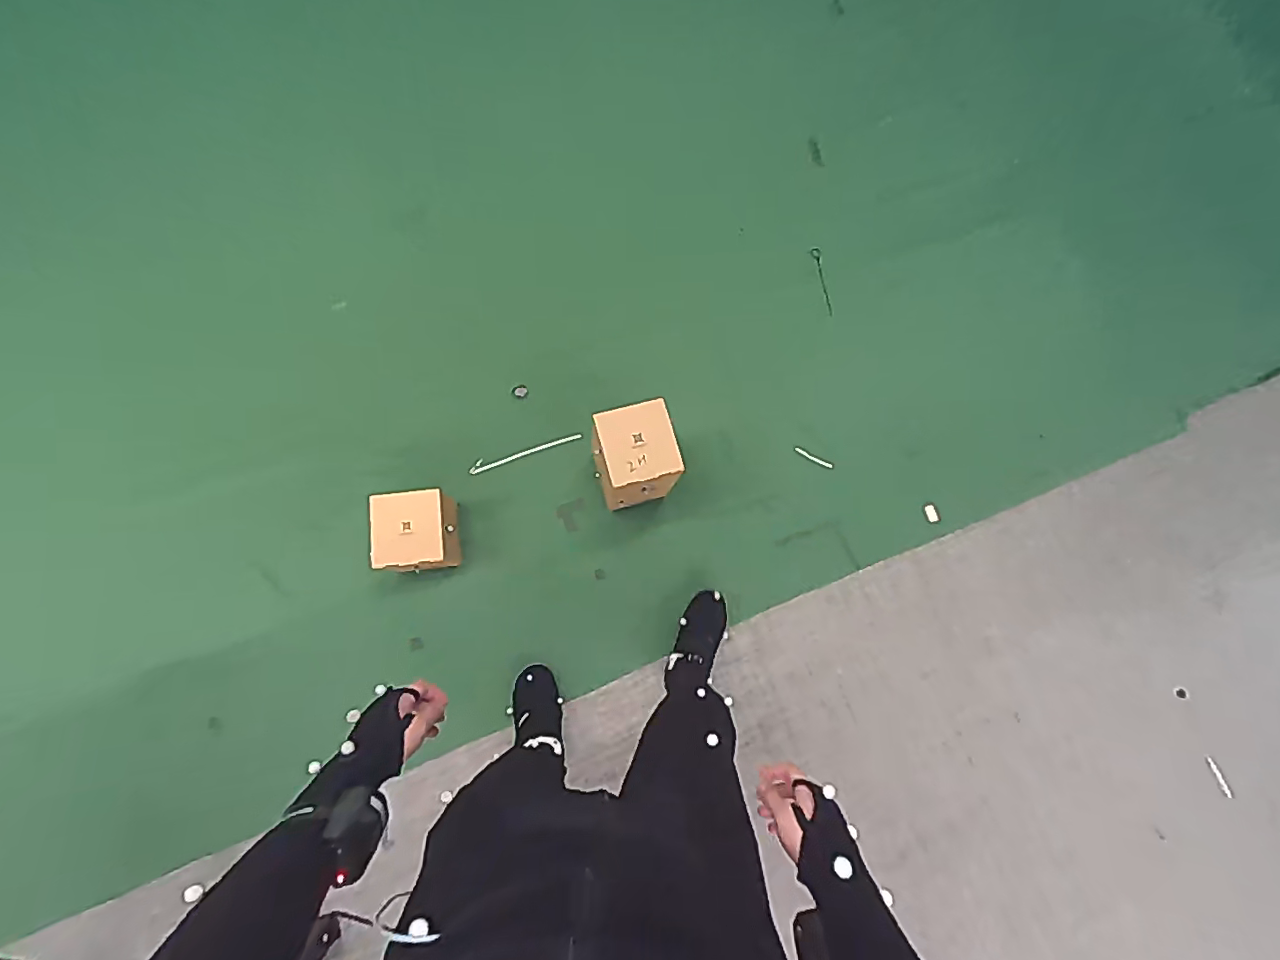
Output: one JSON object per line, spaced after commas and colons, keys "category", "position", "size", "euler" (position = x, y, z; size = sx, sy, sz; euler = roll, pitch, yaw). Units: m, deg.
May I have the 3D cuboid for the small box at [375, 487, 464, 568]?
{"category": "small box", "position": [-0.549, 0.123, 1.359], "size": [0.168, 0.176, 0.179], "euler": [-6, 80, -5]}

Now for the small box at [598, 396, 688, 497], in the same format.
{"category": "small box", "position": [-0.001, -0.072, 1.267], "size": [0.168, 0.176, 0.179], "euler": [-14, 80, -7]}
